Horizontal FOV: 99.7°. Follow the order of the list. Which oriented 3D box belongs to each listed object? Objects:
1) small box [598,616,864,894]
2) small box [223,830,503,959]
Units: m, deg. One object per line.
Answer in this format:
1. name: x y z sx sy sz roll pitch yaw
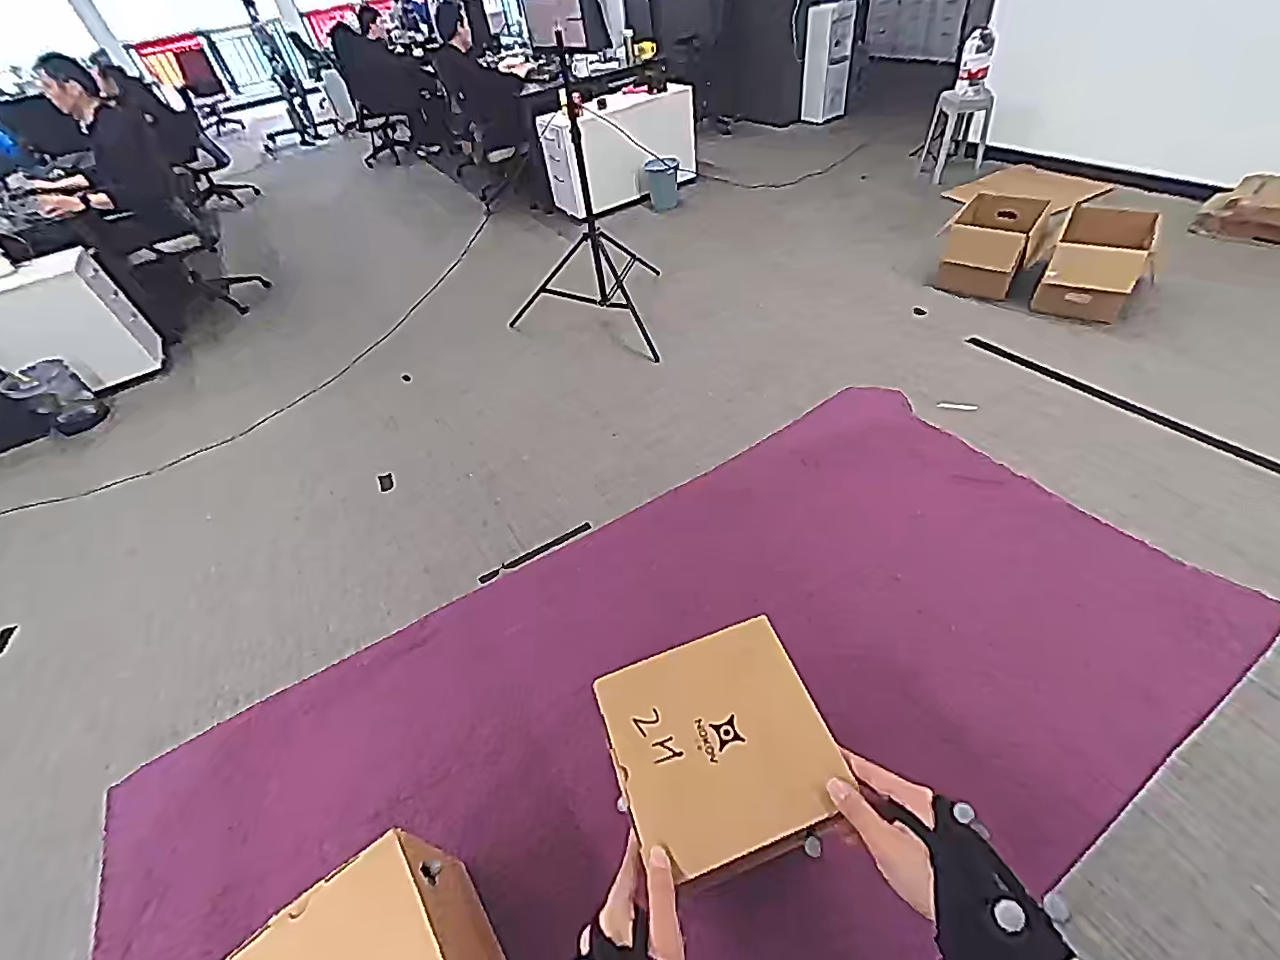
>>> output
1. small box: 0.074 0.260 0.511 0.179 0.176 0.168 -19 50 -7
2. small box: -0.209 0.434 0.436 0.168 0.176 0.179 -33 49 -22
